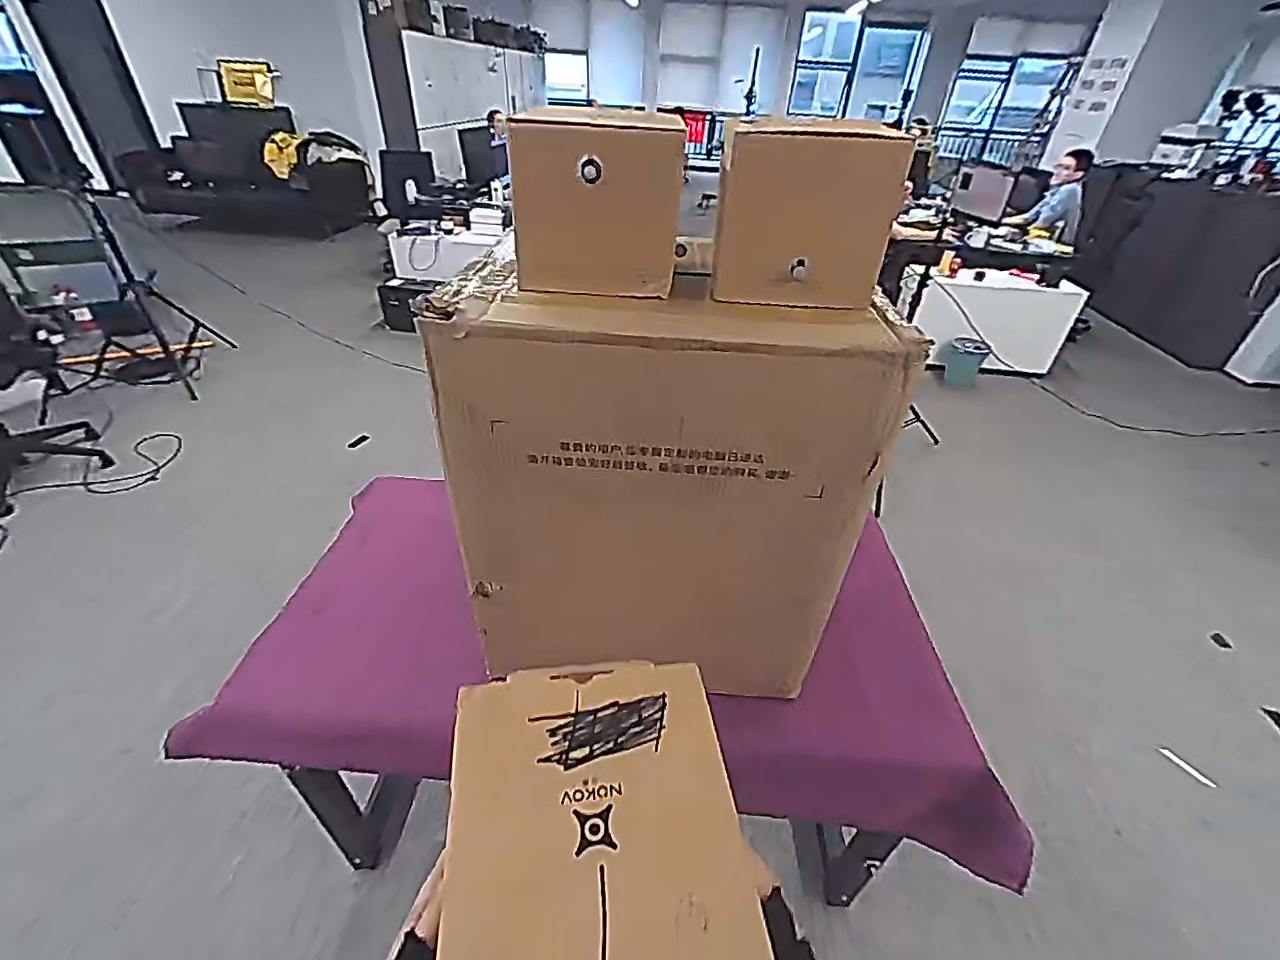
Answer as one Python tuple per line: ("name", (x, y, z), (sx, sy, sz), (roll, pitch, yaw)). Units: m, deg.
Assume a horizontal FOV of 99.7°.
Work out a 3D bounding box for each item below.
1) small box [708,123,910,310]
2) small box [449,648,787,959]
("small box", (0.178, -0.308, 0.634), (0.179, 0.176, 0.168), (4, 36, 2))
("small box", (-0.027, 0.241, 0.365), (0.168, 0.176, 0.179), (-3, 42, -10))
